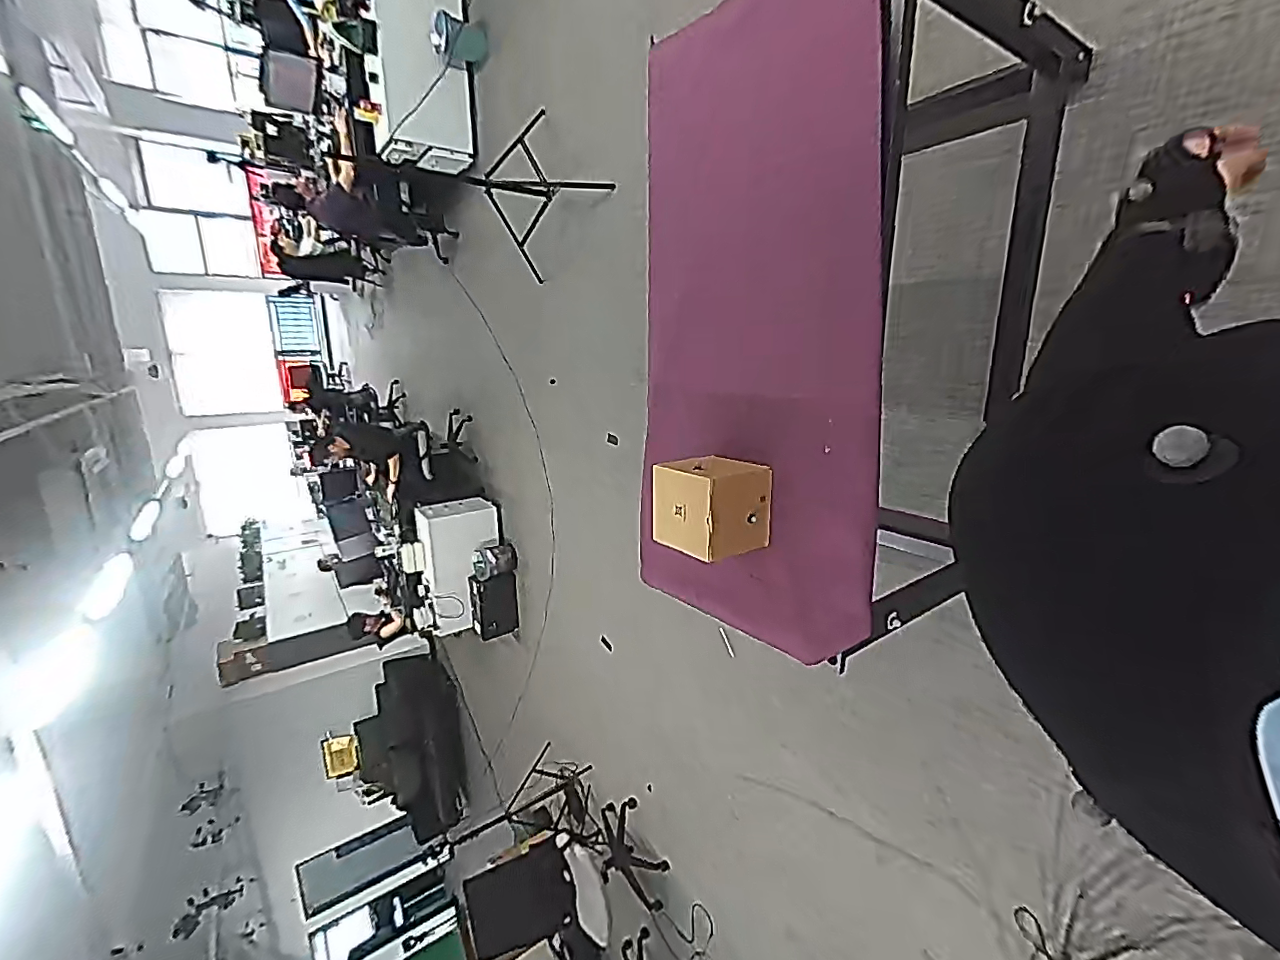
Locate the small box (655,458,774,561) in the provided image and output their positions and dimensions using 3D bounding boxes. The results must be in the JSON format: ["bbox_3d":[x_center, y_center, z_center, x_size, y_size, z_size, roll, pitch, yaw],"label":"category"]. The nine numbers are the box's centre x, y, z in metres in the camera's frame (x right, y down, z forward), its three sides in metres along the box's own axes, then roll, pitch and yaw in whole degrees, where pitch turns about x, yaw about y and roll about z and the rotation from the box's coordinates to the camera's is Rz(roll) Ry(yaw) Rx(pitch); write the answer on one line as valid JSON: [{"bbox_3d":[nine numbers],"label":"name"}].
[{"bbox_3d":[0.149,0.050,1.110,0.179,0.176,0.168,16,111,52],"label":"small box"}]
